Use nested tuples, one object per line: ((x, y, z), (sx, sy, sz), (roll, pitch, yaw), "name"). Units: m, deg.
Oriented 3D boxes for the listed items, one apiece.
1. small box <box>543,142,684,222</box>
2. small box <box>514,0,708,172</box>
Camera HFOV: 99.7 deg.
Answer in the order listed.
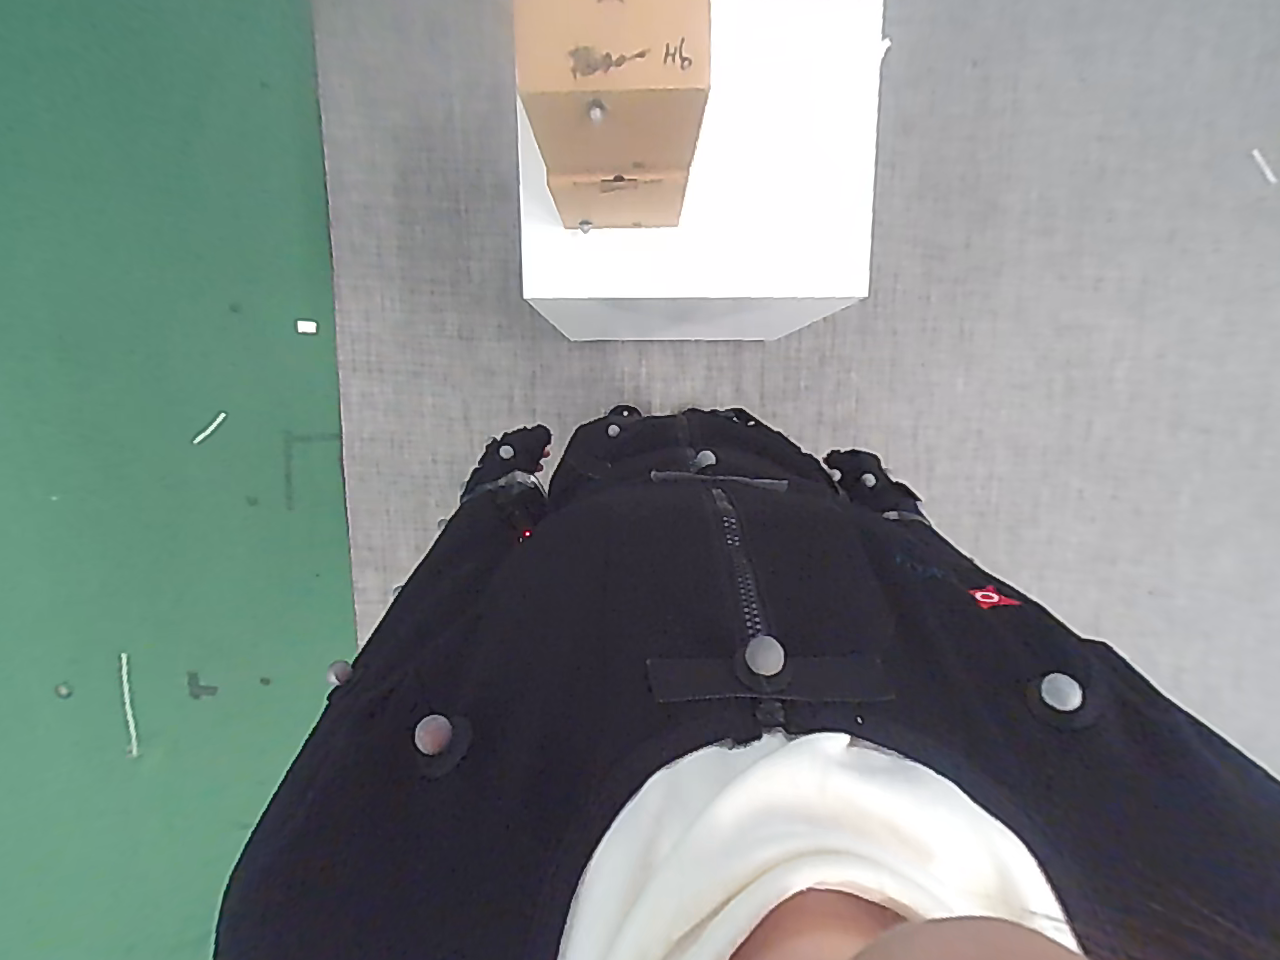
((-0.030, -0.443, 0.691), (0.168, 0.176, 0.179), (-1, 98, 0), "small box")
((-0.026, -0.430, 0.528), (0.168, 0.176, 0.179), (-1, 97, 0), "small box")
